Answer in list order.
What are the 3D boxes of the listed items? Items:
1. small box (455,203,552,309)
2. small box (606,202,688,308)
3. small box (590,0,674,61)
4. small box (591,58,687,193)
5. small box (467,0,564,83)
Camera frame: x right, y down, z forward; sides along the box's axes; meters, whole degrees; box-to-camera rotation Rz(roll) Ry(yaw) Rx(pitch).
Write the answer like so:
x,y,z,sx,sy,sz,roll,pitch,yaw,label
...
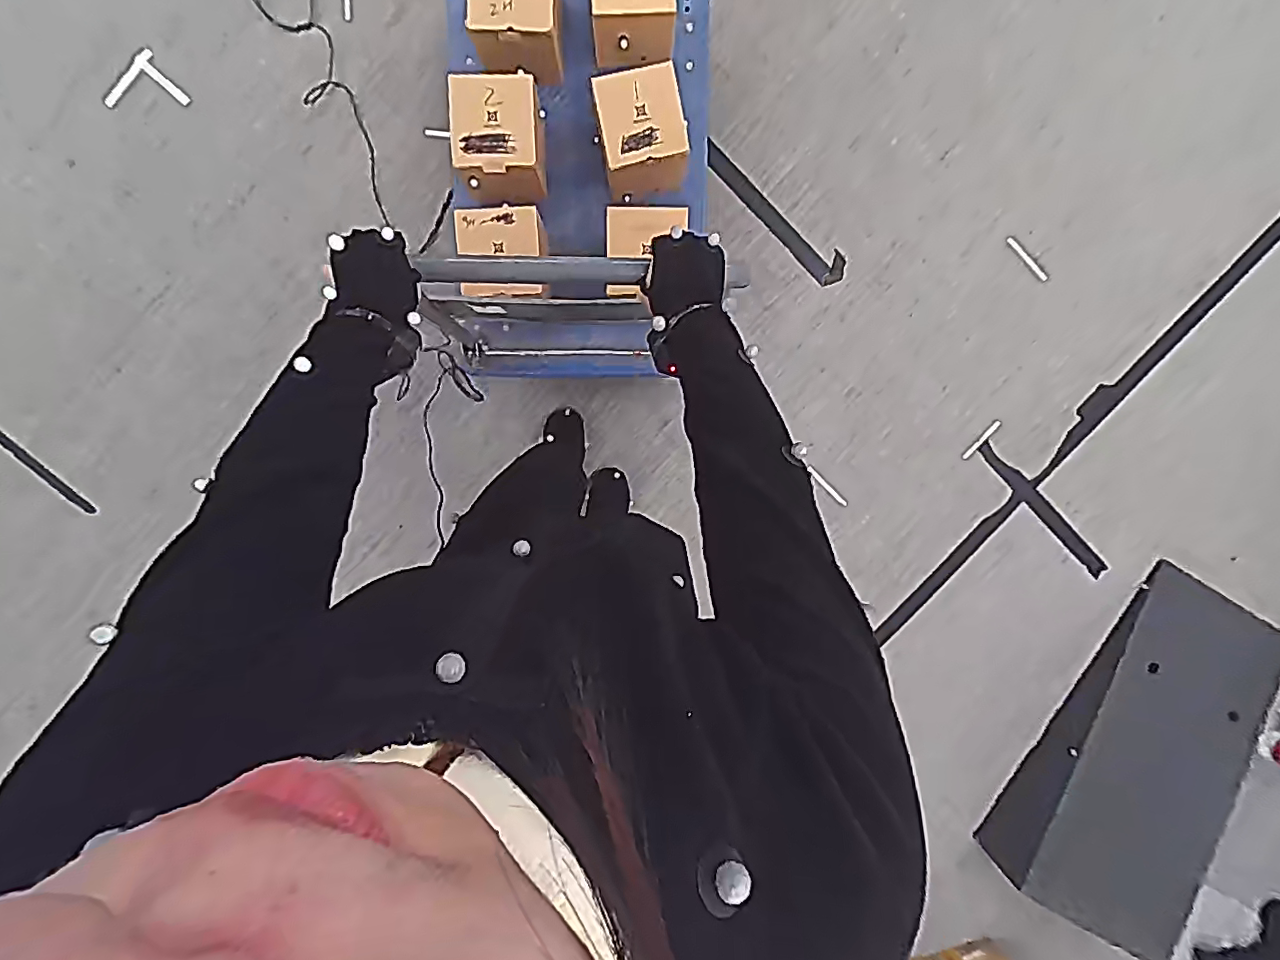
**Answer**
x,y,z,sx,sy,sz,roll,pitch,yaw,label
-0.285,-0.471,1.161,0.168,0.176,0.179,-4,96,-2,small box
0.013,-0.477,1.171,0.168,0.176,0.179,0,95,-2,small box
-0.018,-1.004,1.116,0.168,0.176,0.179,-3,96,-1,small box
-0.001,-0.733,1.144,0.168,0.176,0.179,-12,95,0,small box
-0.250,-0.966,1.112,0.168,0.176,0.179,2,97,-1,small box
